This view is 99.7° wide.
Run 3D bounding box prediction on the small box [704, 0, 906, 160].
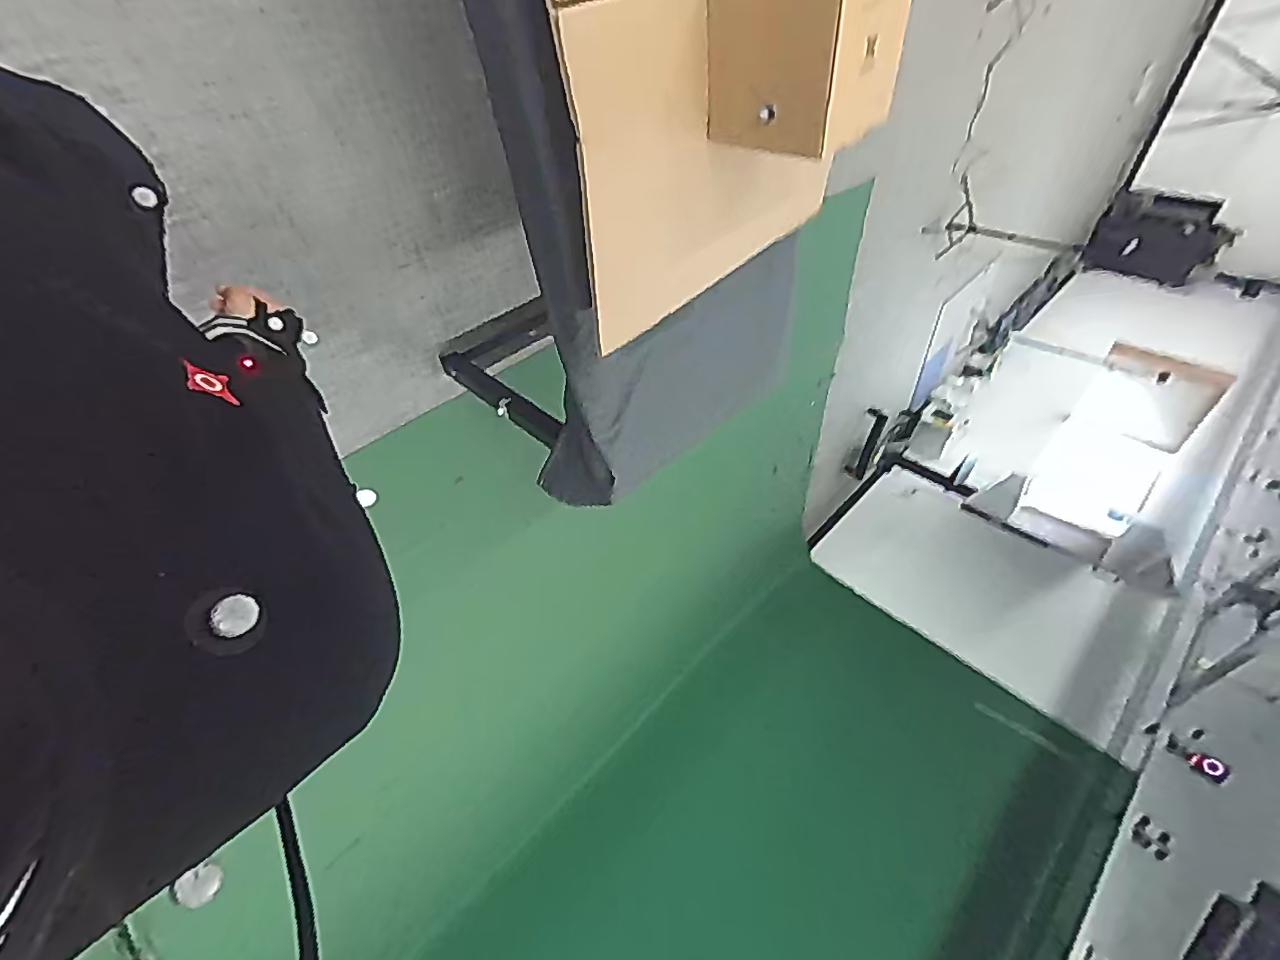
[{"bbox_3d":[0.188,-0.515,0.644,0.168,0.176,0.179,-42,145,-26],"label":"small box"}]
